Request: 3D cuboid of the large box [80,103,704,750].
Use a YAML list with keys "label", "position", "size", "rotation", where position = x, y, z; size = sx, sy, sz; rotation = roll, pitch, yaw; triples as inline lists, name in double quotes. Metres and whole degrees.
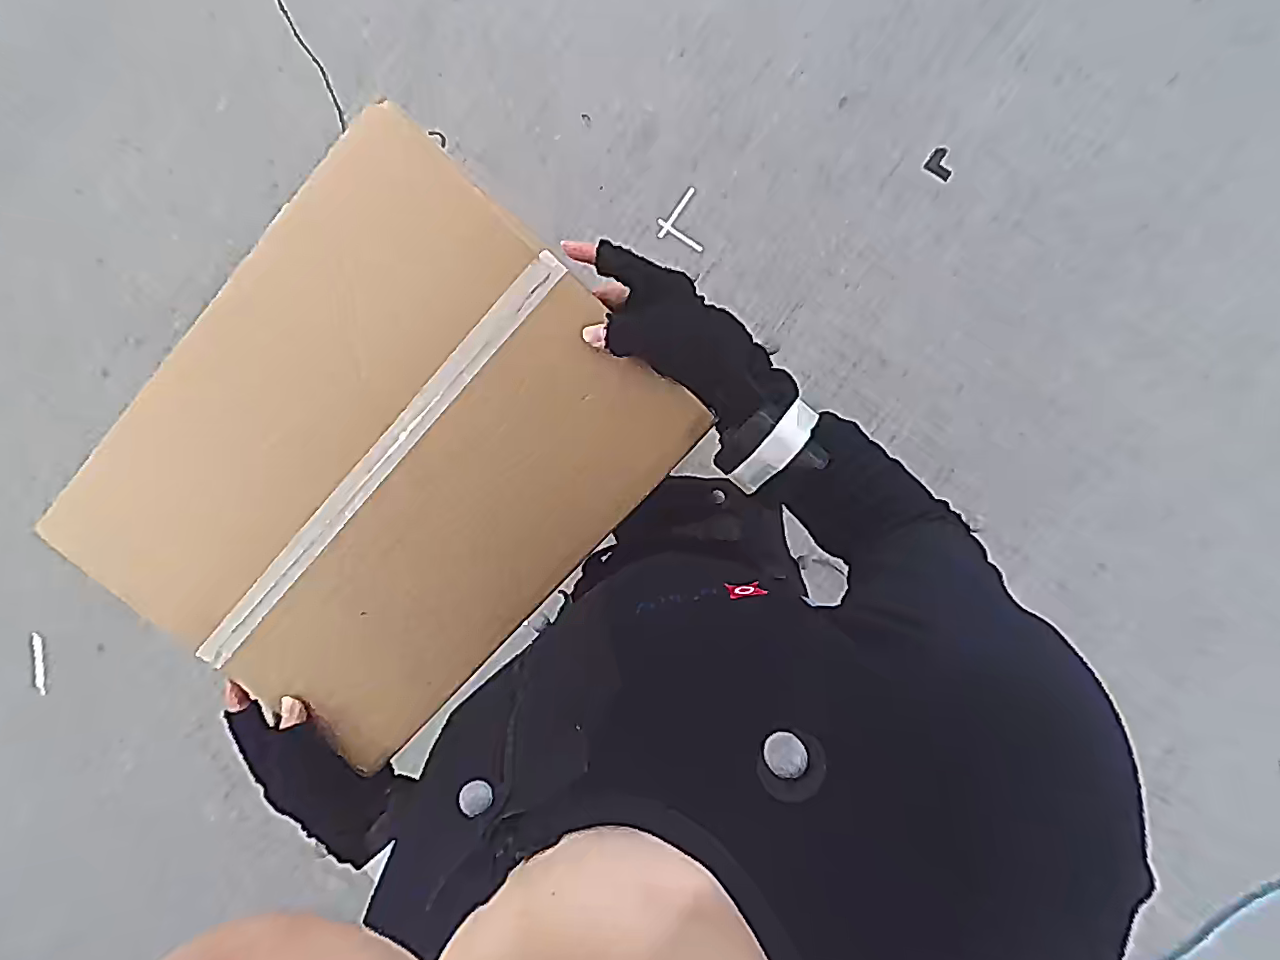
- label: "large box"
  position: [-0.193, -0.040, 0.556]
  size: [0.320, 0.320, 0.408]
  rotation: [43, 98, -8]
